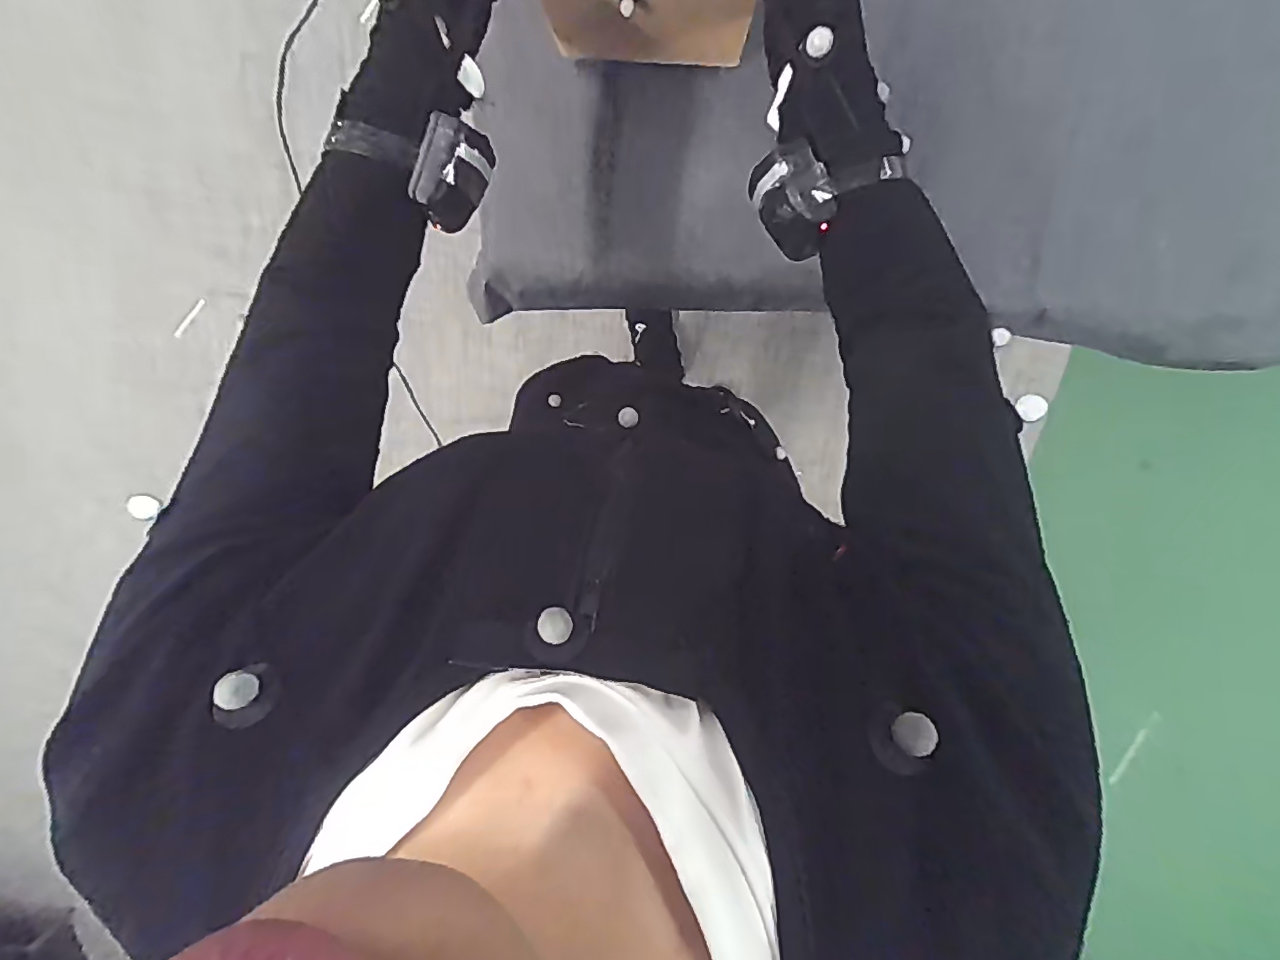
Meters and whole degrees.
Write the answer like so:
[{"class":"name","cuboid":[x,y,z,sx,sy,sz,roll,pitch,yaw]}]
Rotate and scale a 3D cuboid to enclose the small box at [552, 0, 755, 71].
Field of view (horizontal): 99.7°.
[{"class":"small box","cuboid":[0.014,-0.463,0.438,0.179,0.176,0.168,4,108,2]}]
